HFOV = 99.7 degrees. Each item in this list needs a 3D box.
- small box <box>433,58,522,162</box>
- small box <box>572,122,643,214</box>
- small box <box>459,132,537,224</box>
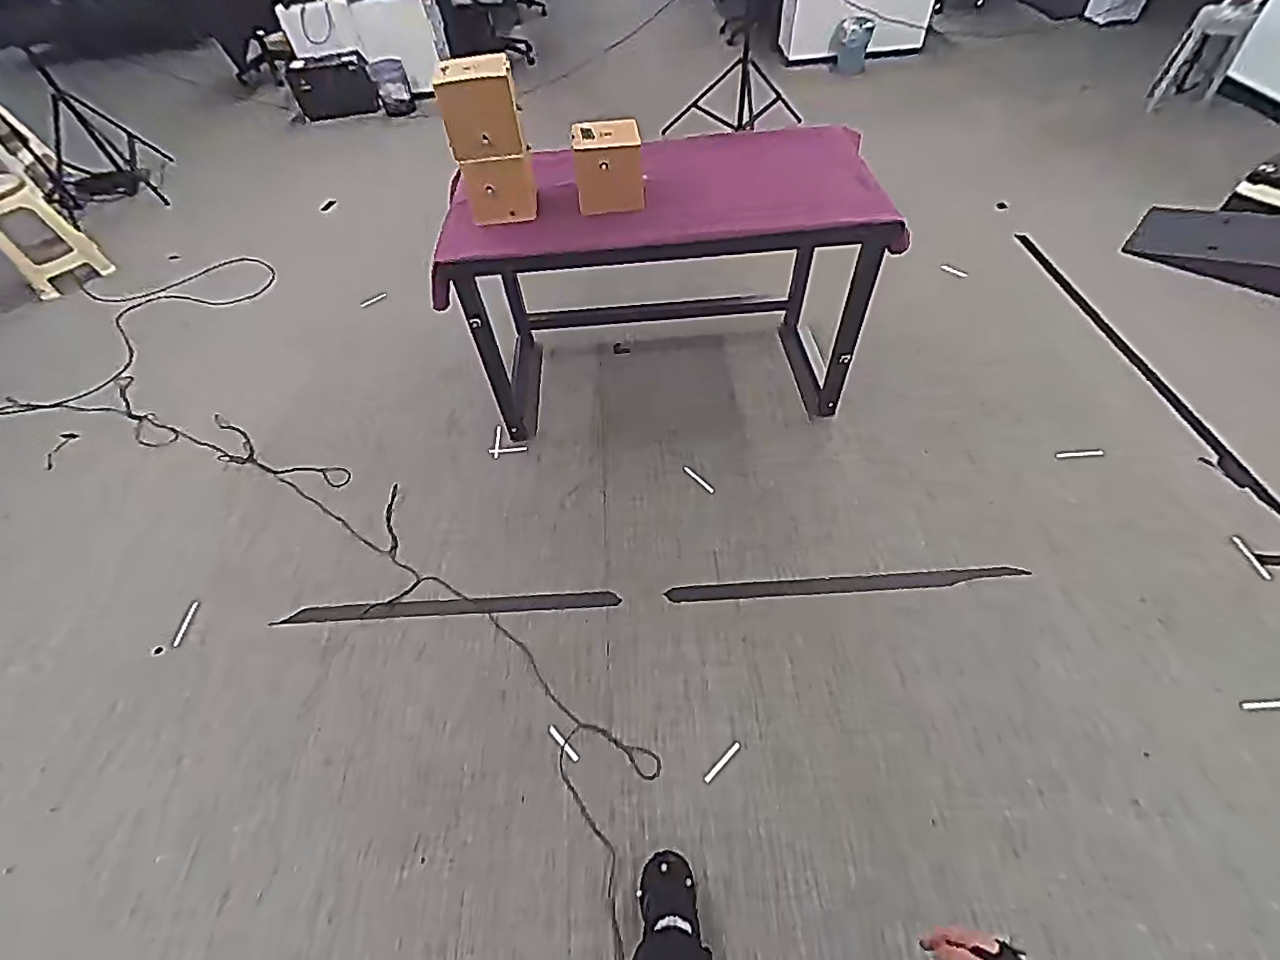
[{"bbox_3d":[-0.396,-0.921,1.351,0.179,0.176,0.168,-8,52,-3],"label":"small box"},{"bbox_3d":[-0.087,-0.846,1.475,0.179,0.176,0.168,-6,53,-1],"label":"small box"},{"bbox_3d":[-0.380,-0.817,1.477,0.168,0.176,0.179,-7,52,-1],"label":"small box"}]
